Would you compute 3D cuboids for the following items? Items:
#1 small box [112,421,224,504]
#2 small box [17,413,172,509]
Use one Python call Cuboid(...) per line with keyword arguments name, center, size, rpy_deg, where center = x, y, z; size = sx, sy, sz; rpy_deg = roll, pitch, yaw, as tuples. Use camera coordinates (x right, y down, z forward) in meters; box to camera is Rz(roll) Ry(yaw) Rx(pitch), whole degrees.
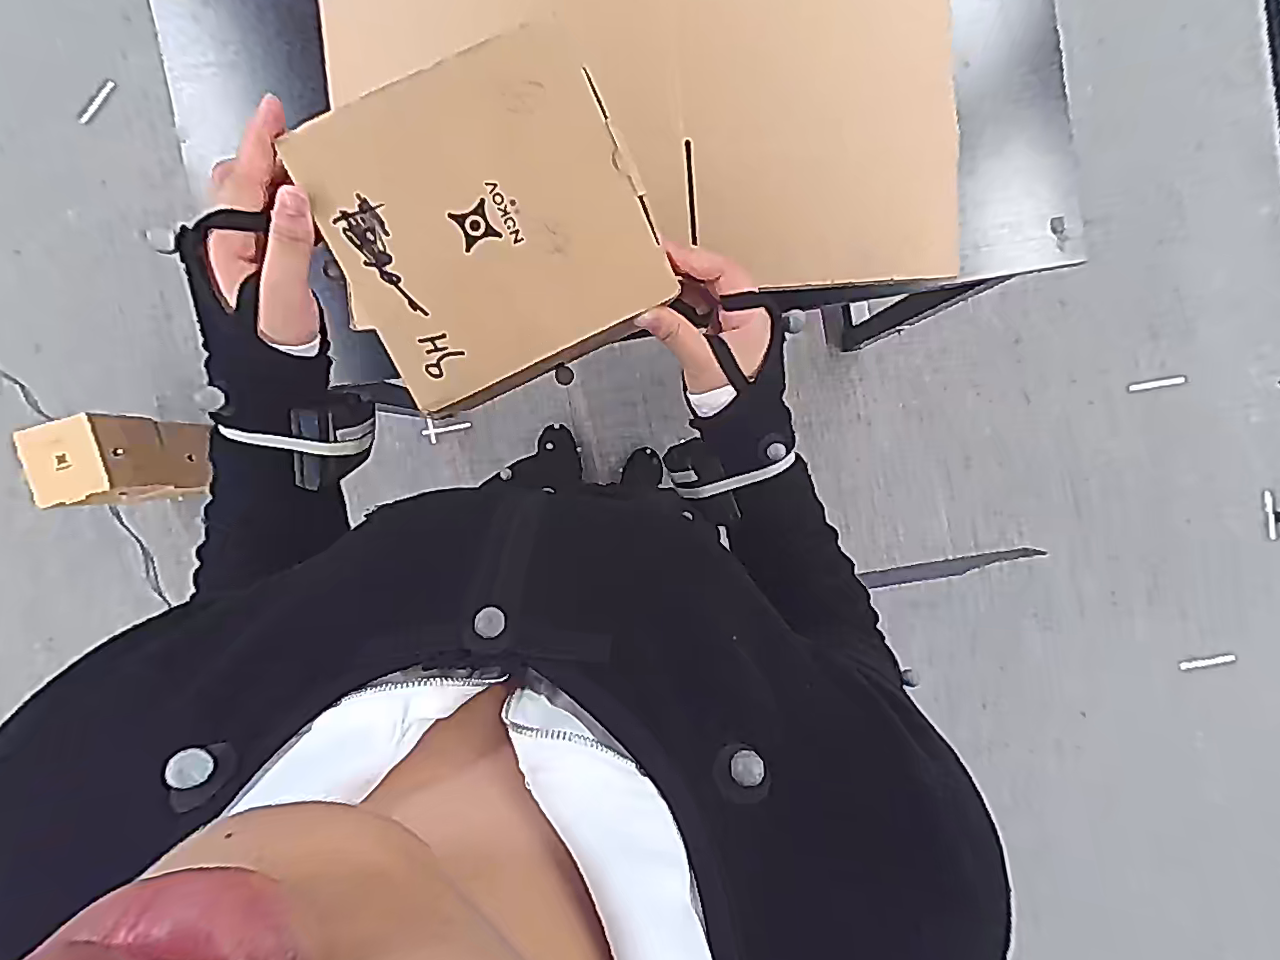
Cuboid(name="small box", center=(-1.237, -0.045, 1.405), size=(0.168, 0.176, 0.179), rpy_deg=(-13, 93, 0))
Cuboid(name="small box", center=(-1.237, -0.044, 1.242), size=(0.168, 0.176, 0.179), rpy_deg=(-16, 92, 0))
